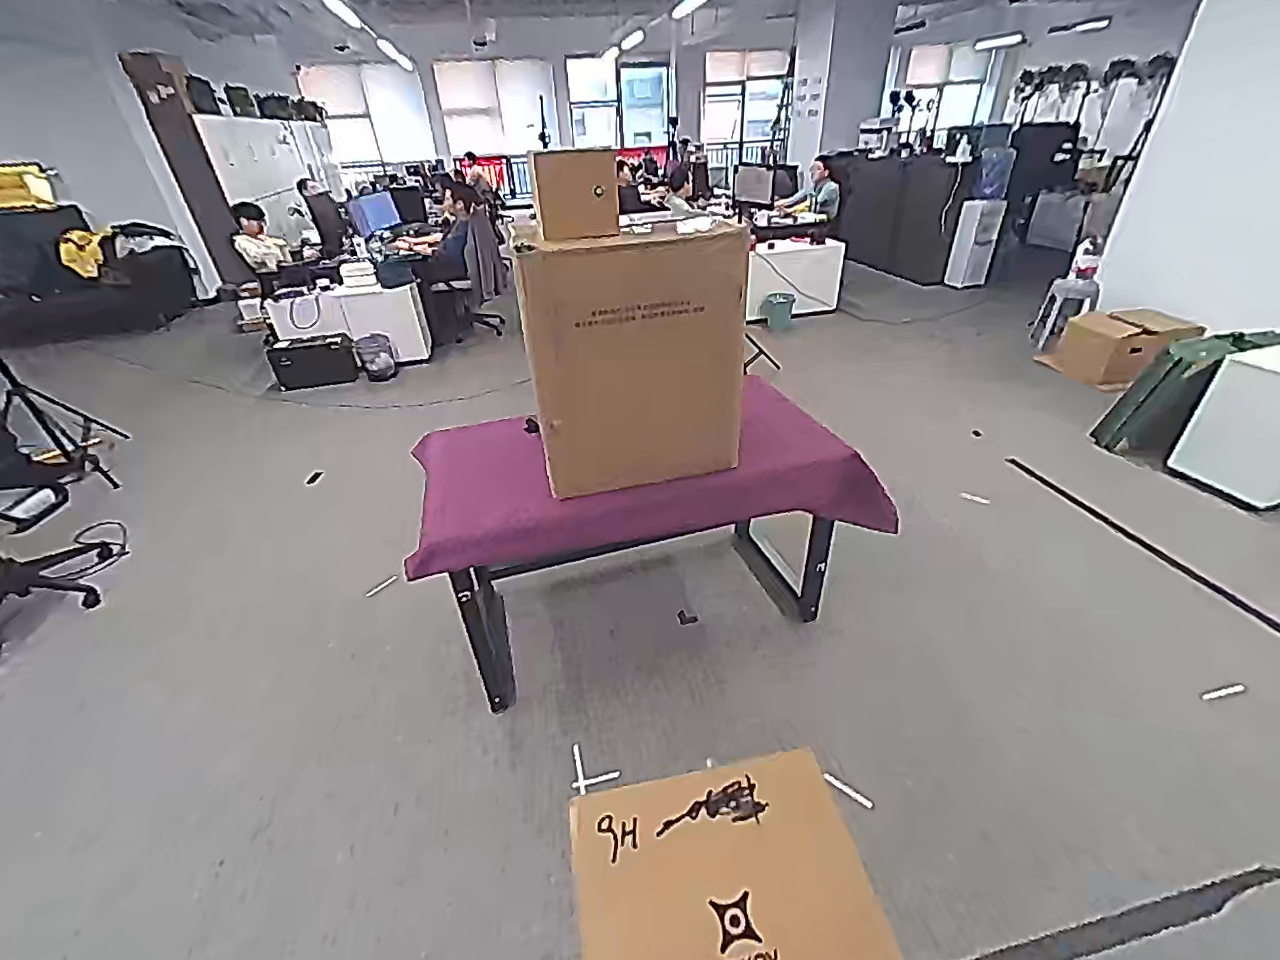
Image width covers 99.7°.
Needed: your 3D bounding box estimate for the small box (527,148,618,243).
[{"bbox_3d":[-0.149,-0.642,1.215,0.179,0.176,0.168,-11,33,-11],"label":"small box"}]
